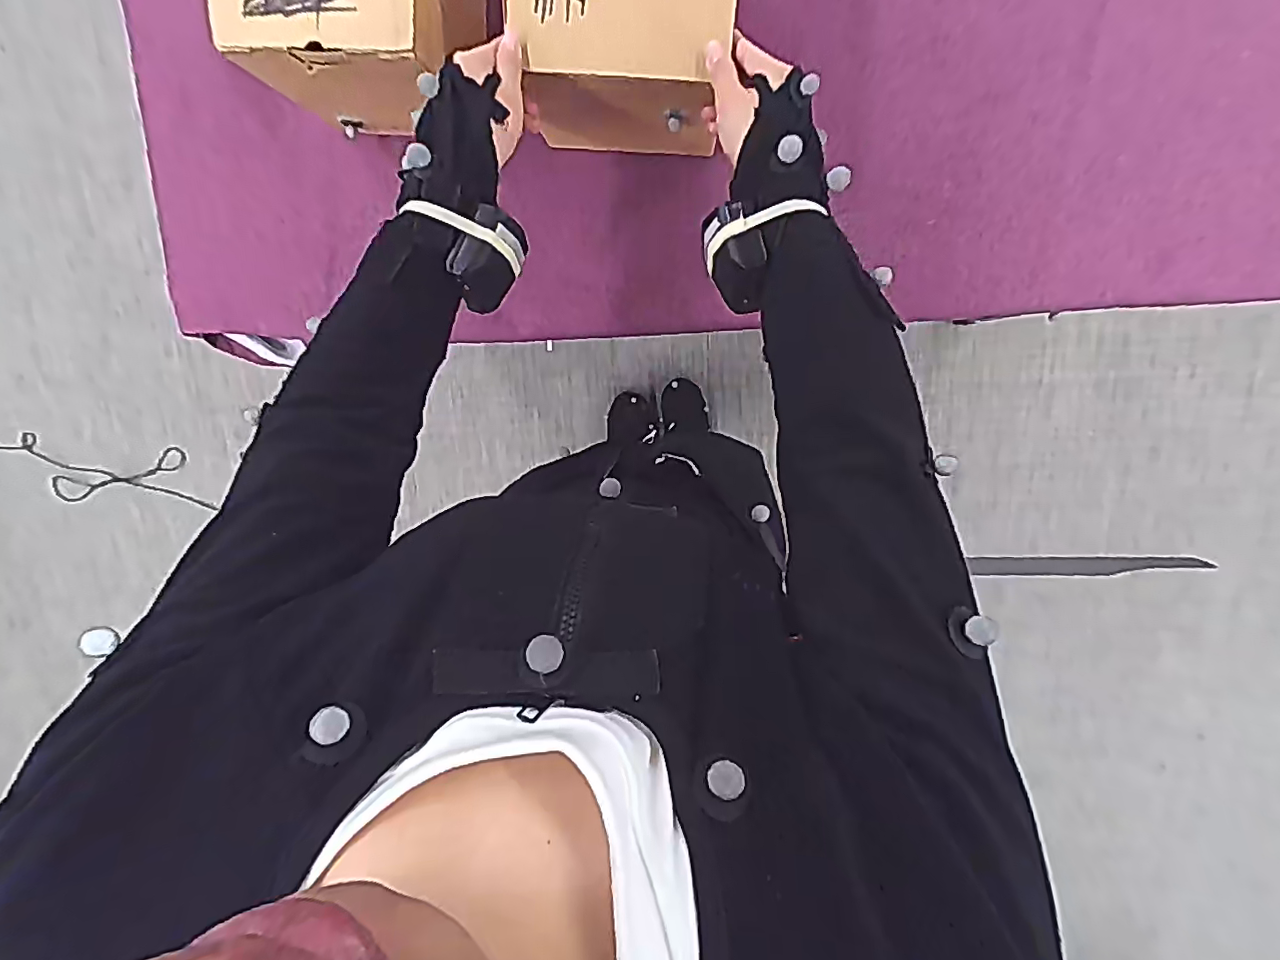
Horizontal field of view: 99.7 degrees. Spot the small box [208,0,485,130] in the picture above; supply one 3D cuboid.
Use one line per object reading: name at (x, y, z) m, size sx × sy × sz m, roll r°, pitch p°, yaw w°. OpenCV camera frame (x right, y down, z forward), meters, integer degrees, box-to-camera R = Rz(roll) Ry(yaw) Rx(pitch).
small box at (-0.244, -0.439, 0.481) m, size 0.168 × 0.176 × 0.179 m, roll 4°, pitch 102°, yaw 2°
